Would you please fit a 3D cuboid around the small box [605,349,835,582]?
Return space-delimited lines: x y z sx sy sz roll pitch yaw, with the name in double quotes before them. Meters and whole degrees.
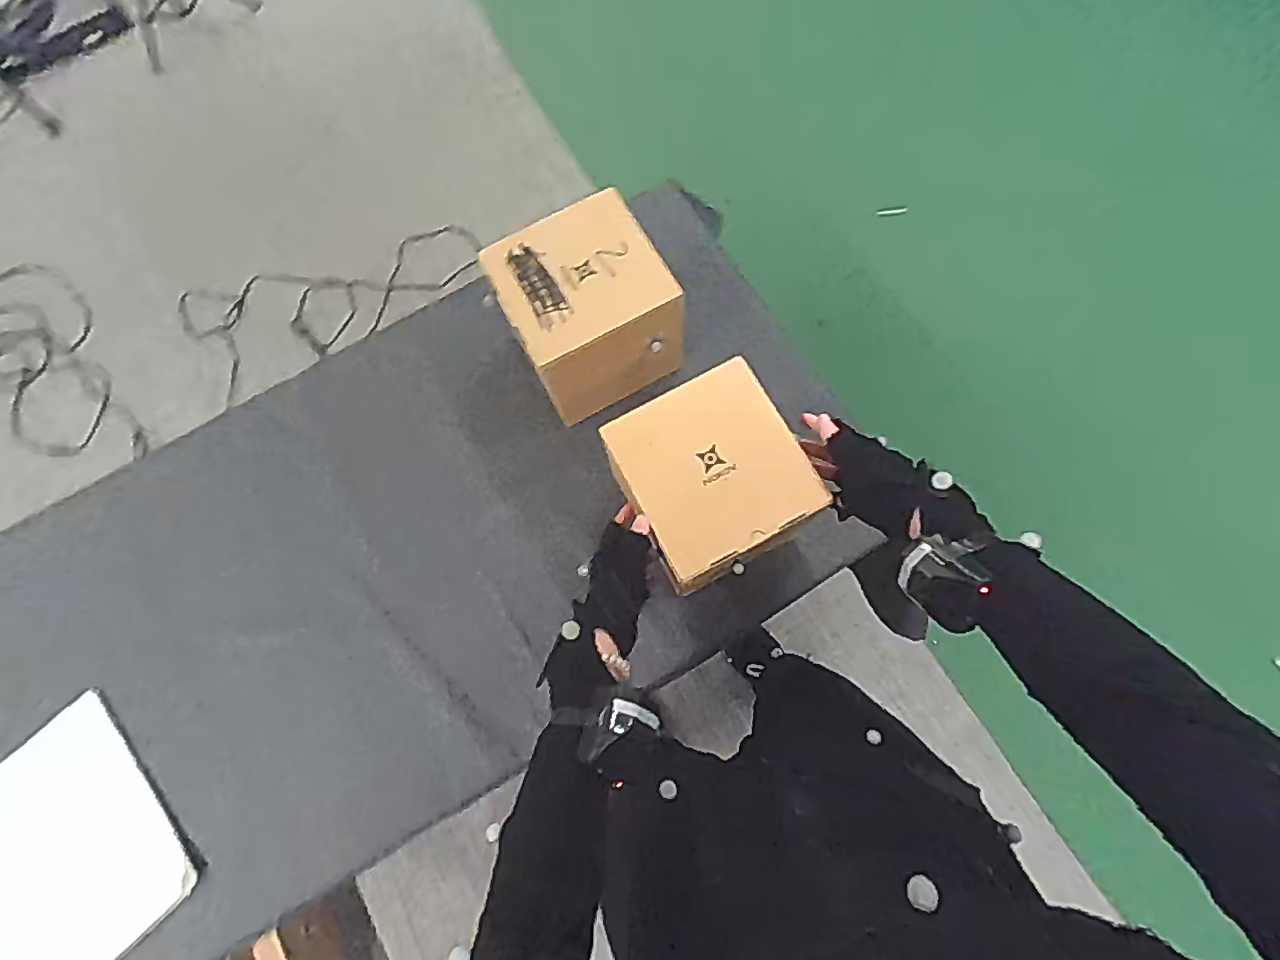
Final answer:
"small box" 0.076 -0.004 0.594 0.168 0.176 0.179 -27 75 -5
